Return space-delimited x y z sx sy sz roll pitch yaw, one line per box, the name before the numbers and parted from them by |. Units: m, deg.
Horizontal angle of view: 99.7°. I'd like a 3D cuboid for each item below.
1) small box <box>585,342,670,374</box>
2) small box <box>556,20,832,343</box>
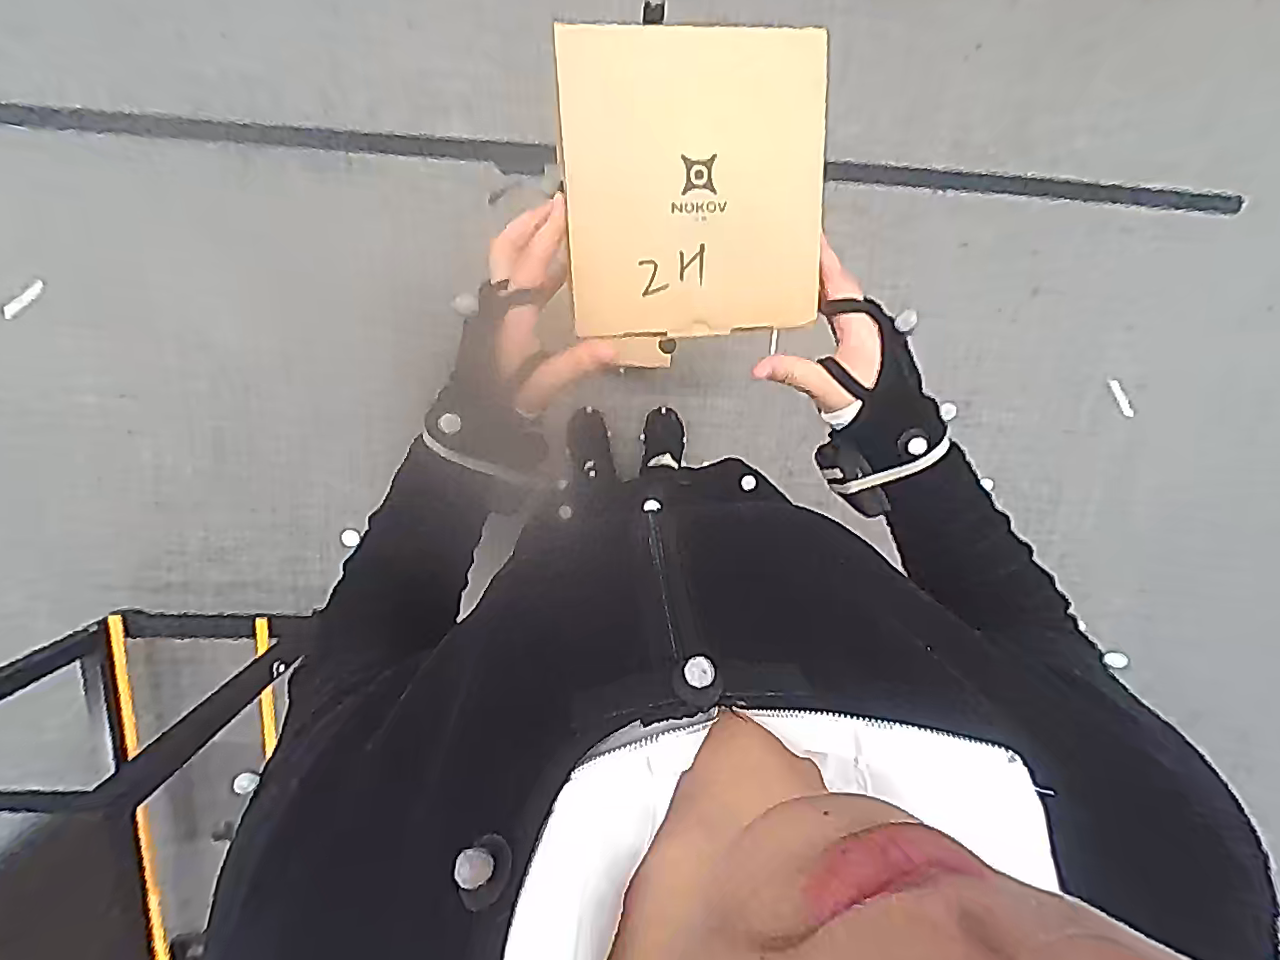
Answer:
small box | -0.026 -0.321 1.182 0.179 0.176 0.168 2 101 -3
small box | 0.024 -0.196 0.407 0.168 0.176 0.179 -4 107 -7
